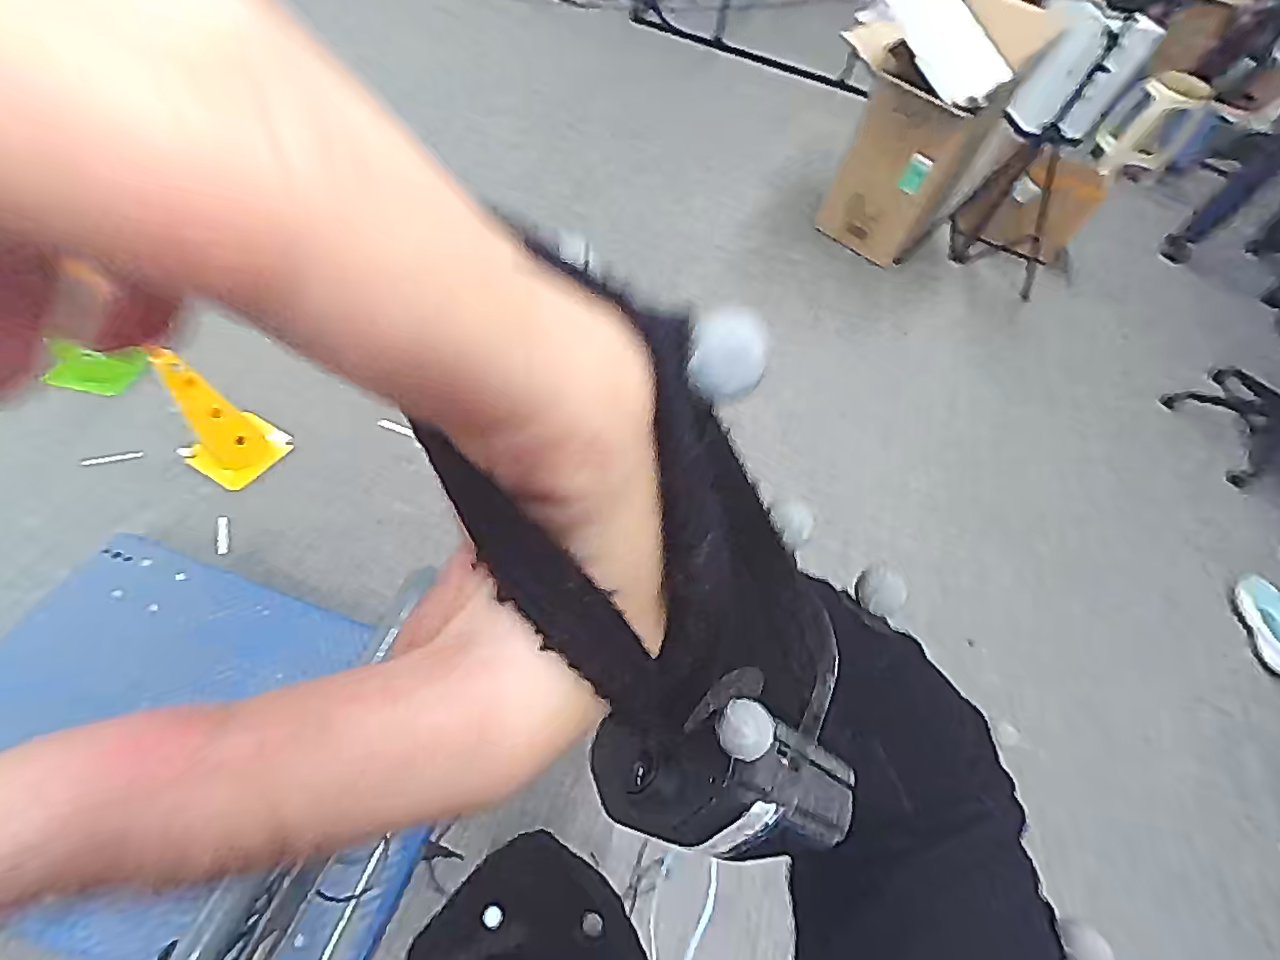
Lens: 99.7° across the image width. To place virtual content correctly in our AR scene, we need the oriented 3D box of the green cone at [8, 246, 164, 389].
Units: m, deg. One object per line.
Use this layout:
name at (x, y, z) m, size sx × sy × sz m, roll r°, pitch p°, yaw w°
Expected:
green cone at (-1.498, -0.440, 1.417) m, size 0.202 × 0.368 × 0.200 m, roll 12°, pitch 56°, yaw -4°
